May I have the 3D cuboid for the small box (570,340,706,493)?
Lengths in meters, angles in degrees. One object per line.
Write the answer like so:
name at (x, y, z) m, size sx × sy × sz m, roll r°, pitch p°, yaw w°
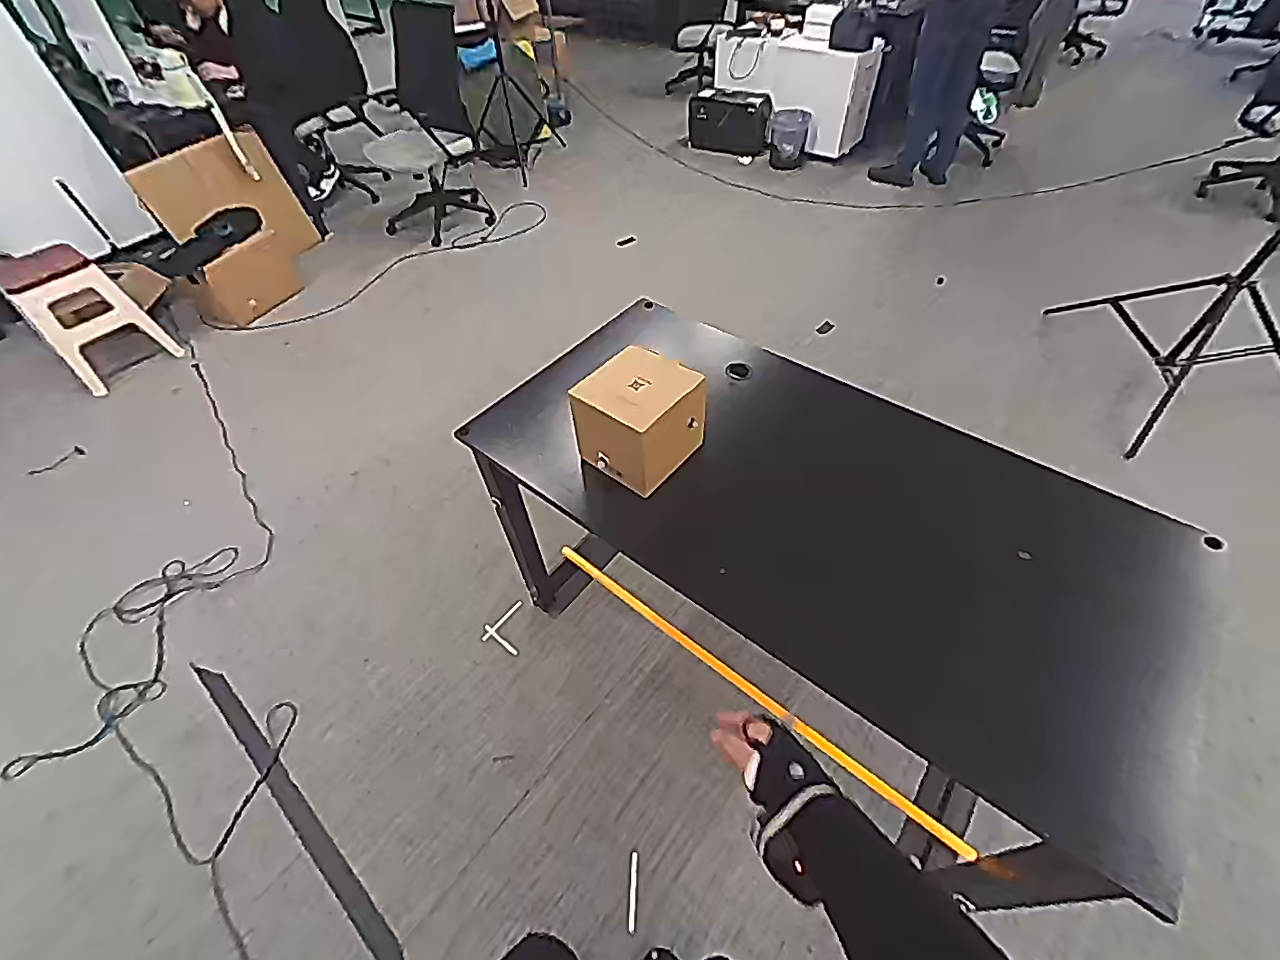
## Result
small box at (-0.001, -0.112, 0.964) m, size 0.168 × 0.176 × 0.179 m, roll 30°, pitch 58°, yaw 26°
